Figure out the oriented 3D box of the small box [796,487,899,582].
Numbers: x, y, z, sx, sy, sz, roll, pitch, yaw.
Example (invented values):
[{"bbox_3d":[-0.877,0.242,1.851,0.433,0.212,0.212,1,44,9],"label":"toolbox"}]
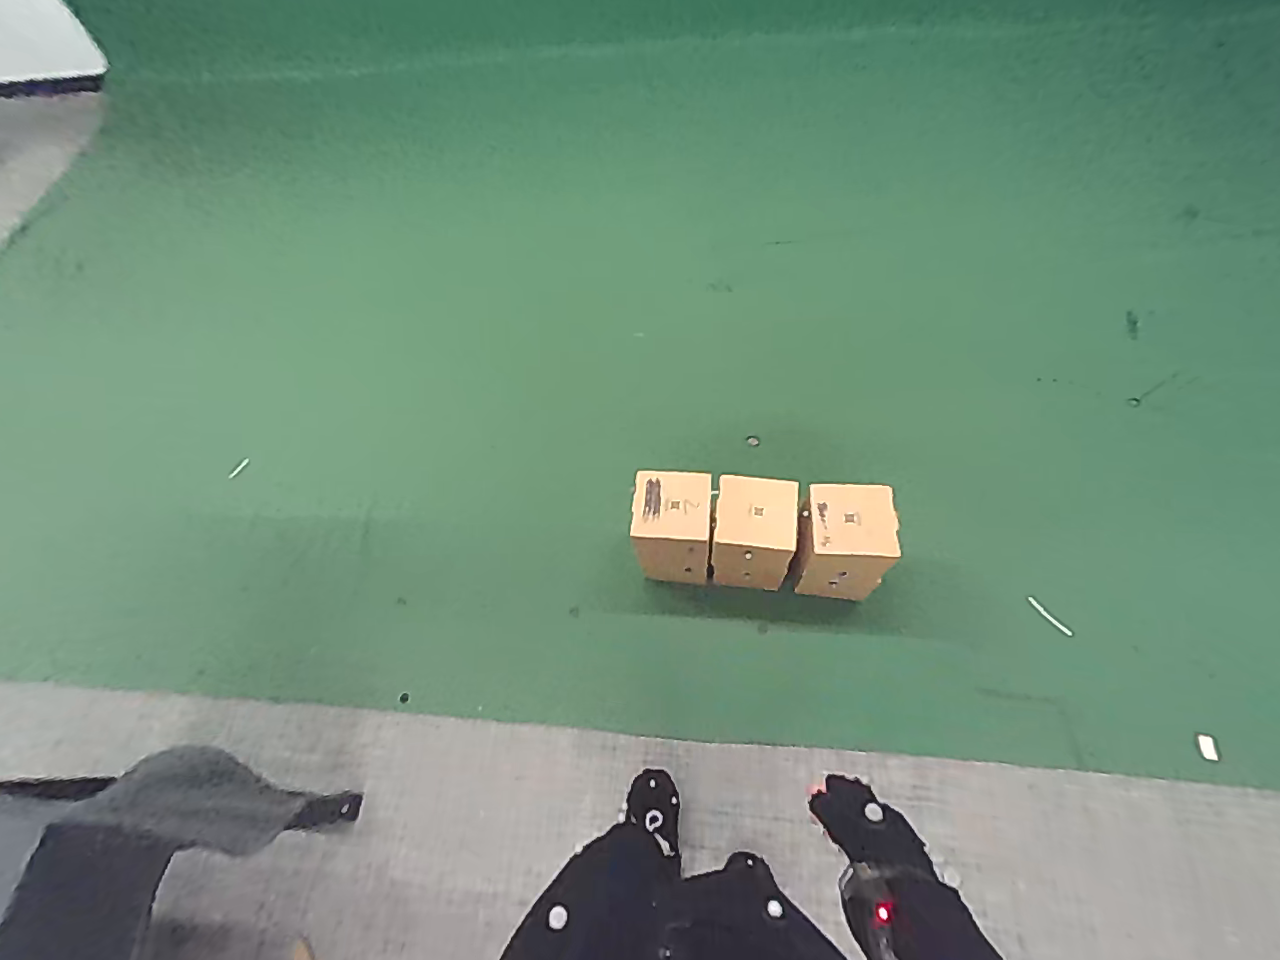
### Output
[{"bbox_3d":[0.462,0.129,1.231,0.179,0.176,0.168,2,63,6],"label":"small box"}]
